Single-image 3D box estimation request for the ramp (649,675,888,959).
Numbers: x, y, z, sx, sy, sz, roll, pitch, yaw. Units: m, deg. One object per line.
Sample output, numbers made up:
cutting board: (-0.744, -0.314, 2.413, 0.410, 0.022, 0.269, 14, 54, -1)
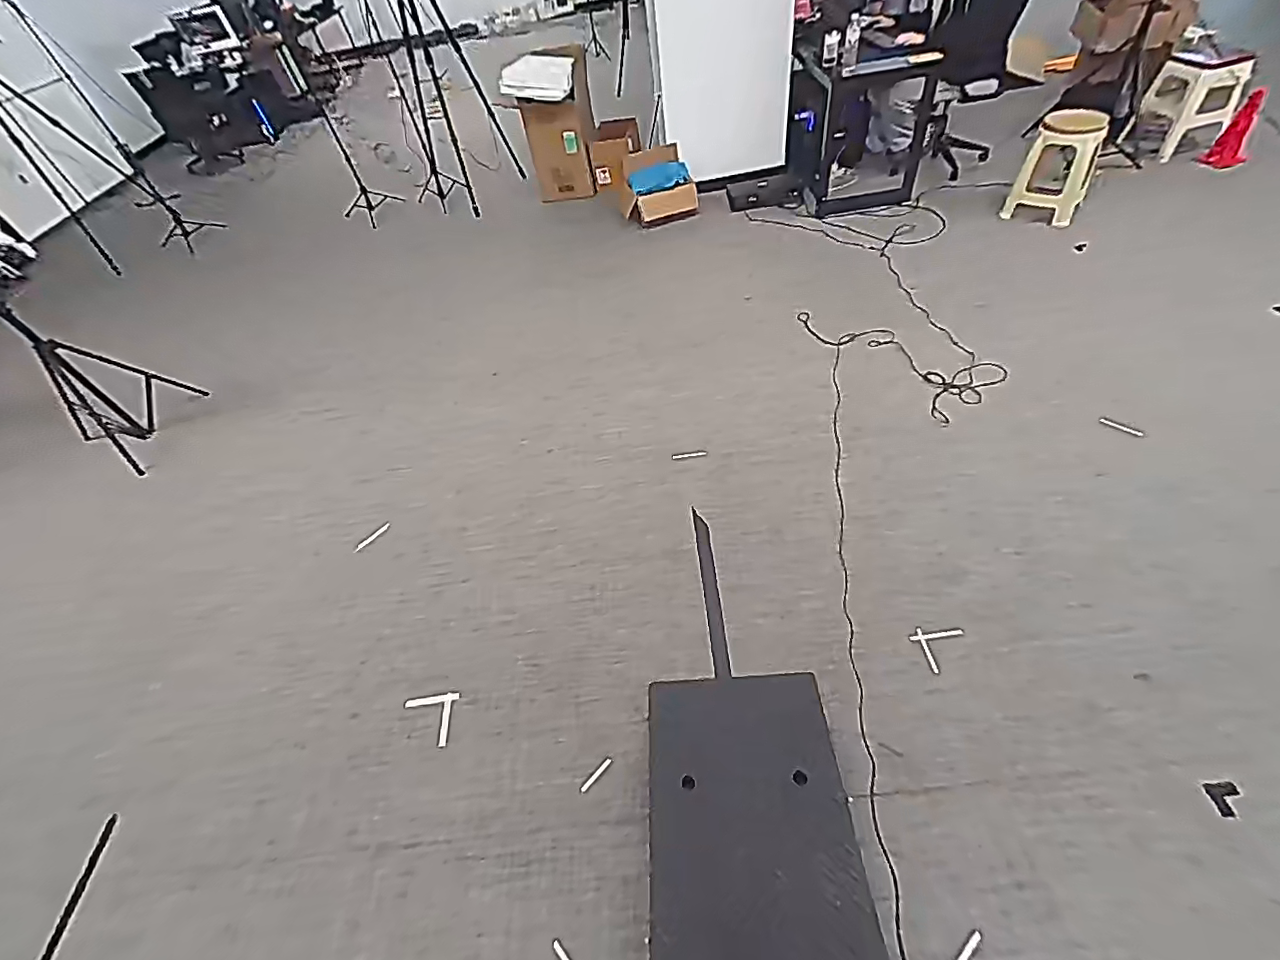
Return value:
ramp: (0.262, 0.911, 1.221, 0.509, 0.206, 0.991, -8, 48, 5)
